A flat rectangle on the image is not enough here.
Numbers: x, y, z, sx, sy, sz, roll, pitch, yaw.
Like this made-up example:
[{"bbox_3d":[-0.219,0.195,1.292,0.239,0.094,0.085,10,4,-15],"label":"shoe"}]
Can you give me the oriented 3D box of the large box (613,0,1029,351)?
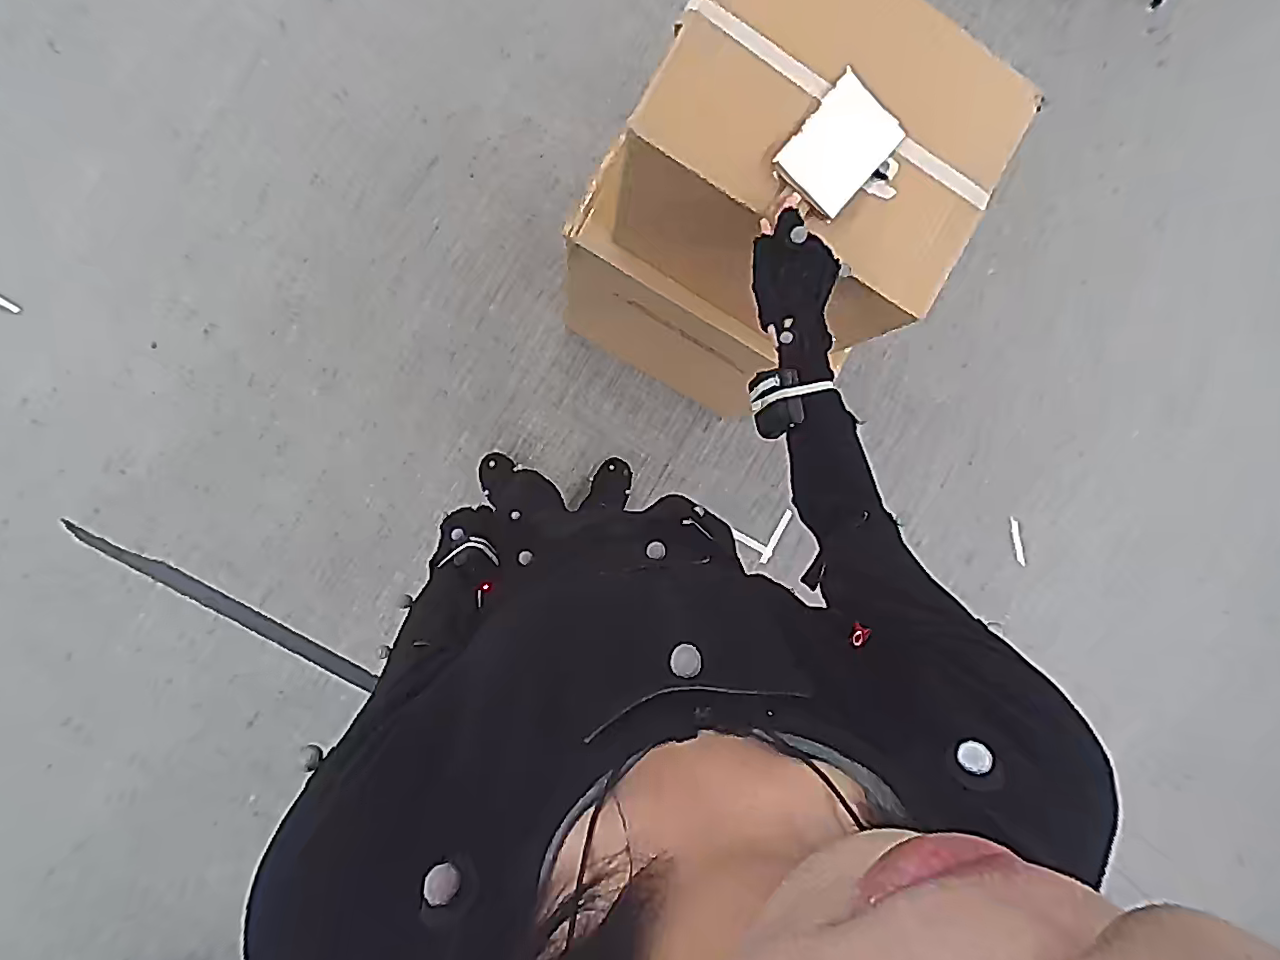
[{"bbox_3d":[0.214,-0.440,0.777,0.408,0.320,0.320,29,90,-8],"label":"large box"}]
